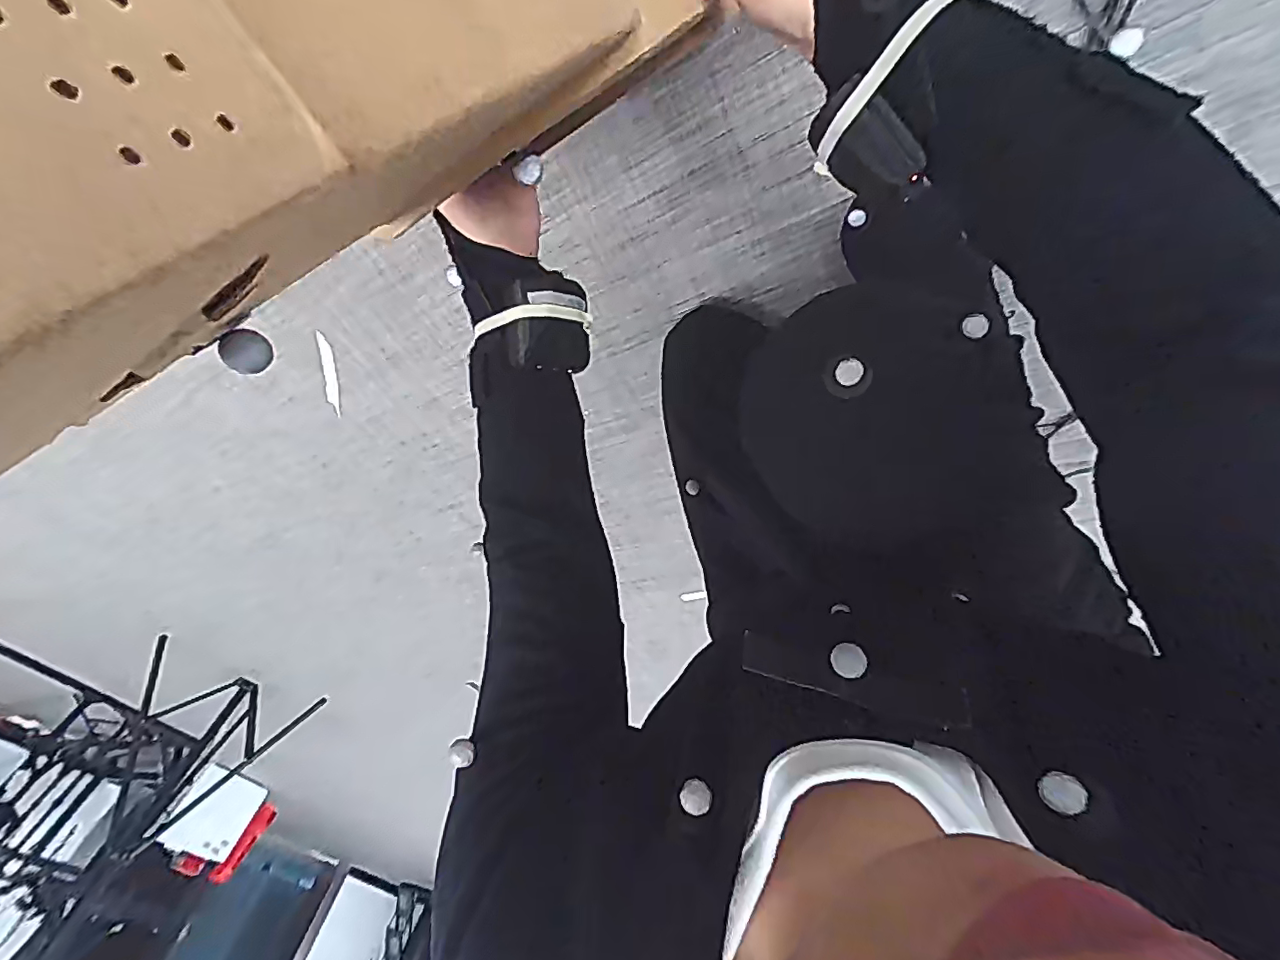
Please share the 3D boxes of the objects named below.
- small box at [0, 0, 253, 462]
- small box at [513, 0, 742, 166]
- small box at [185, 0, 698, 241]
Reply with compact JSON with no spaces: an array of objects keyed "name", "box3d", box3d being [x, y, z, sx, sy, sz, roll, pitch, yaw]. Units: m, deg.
[{"name":"small box","box3d":[-0.173,-0.032,0.028,0.179,0.176,0.168,-13,128,32]},{"name":"small box","box3d":[-0.043,-0.362,0.370,0.168,0.176,0.179,-13,129,32]},{"name":"small box","box3d":[-0.084,-0.256,0.255,0.179,0.176,0.168,-14,129,32]}]
